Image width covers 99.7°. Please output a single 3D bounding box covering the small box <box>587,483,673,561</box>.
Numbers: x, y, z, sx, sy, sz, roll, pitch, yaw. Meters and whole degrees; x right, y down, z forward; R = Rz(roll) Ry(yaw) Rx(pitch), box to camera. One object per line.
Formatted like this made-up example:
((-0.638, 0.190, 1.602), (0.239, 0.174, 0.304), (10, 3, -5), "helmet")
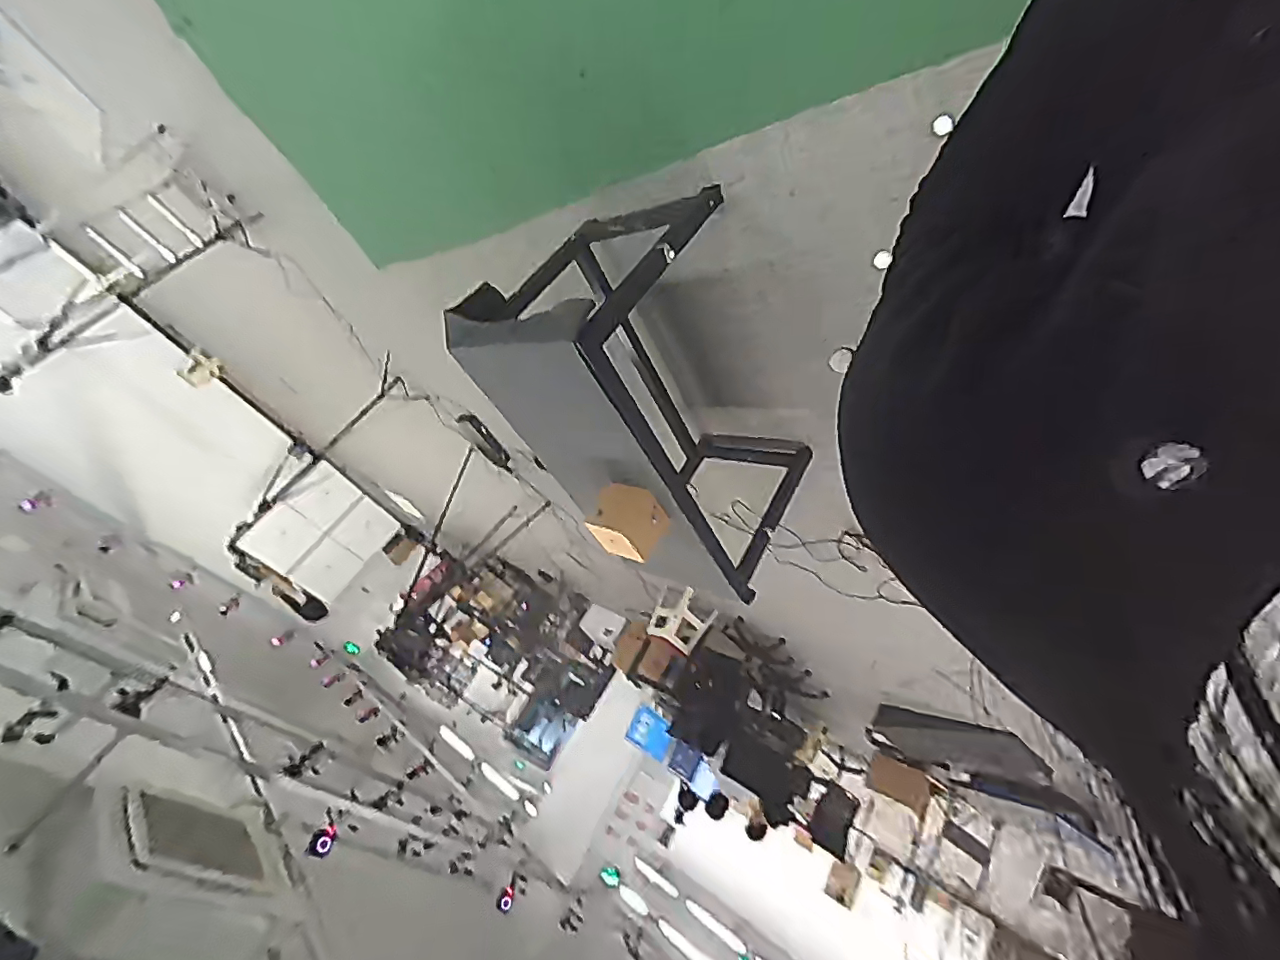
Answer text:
((-0.028, 0.127, 1.722), (0.179, 0.176, 0.168), (11, 147, 42), "small box")
